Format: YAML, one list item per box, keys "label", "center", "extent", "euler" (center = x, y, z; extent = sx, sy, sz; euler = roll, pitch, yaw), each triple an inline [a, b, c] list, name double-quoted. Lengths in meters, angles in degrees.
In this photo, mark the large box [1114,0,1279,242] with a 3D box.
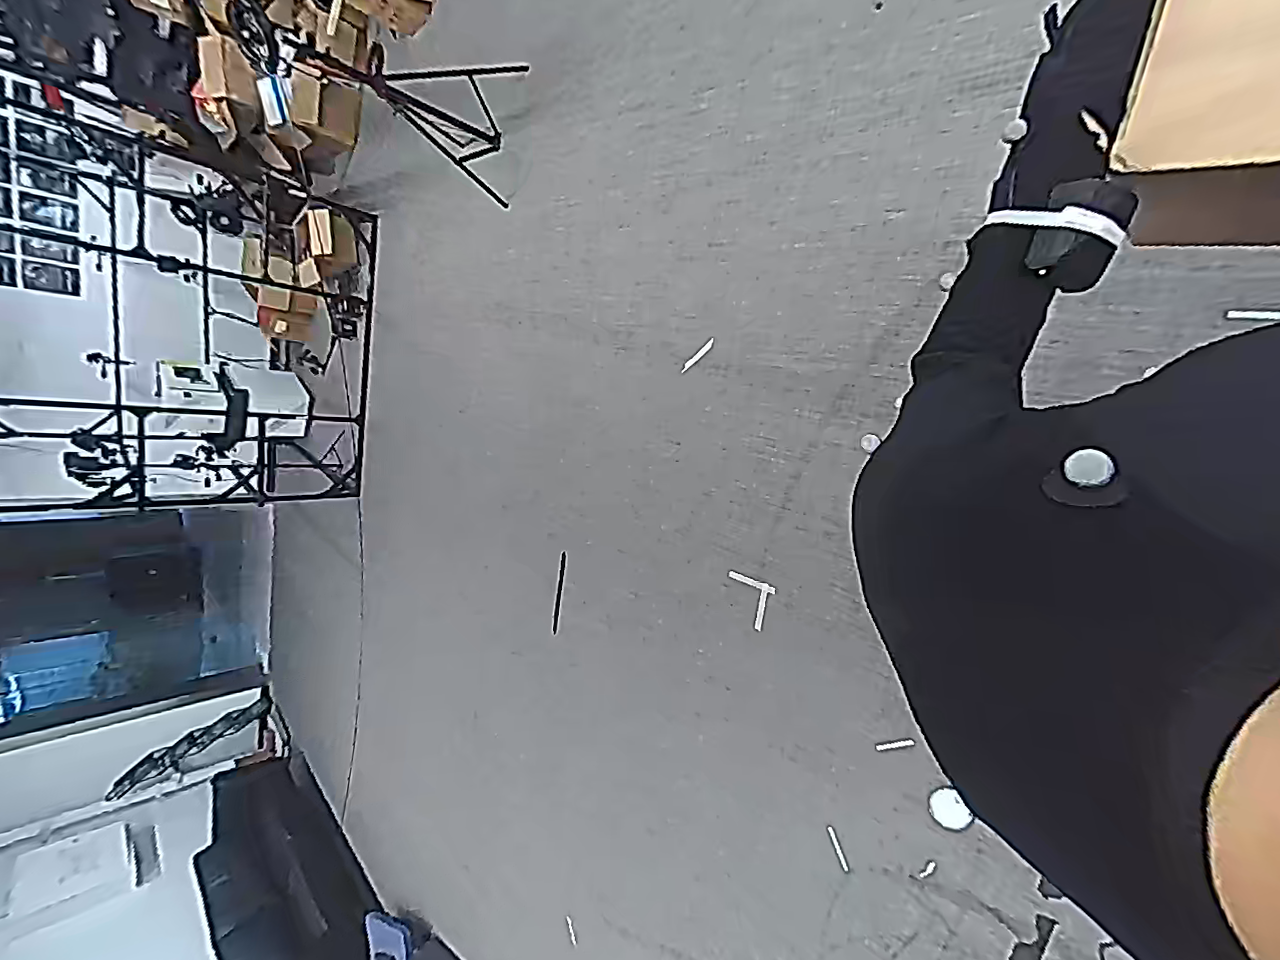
- label: "large box"
  center: [0.607, -0.347, 0.341]
  extent: [0.408, 0.320, 0.320]
  euler: [20, 112, 40]
